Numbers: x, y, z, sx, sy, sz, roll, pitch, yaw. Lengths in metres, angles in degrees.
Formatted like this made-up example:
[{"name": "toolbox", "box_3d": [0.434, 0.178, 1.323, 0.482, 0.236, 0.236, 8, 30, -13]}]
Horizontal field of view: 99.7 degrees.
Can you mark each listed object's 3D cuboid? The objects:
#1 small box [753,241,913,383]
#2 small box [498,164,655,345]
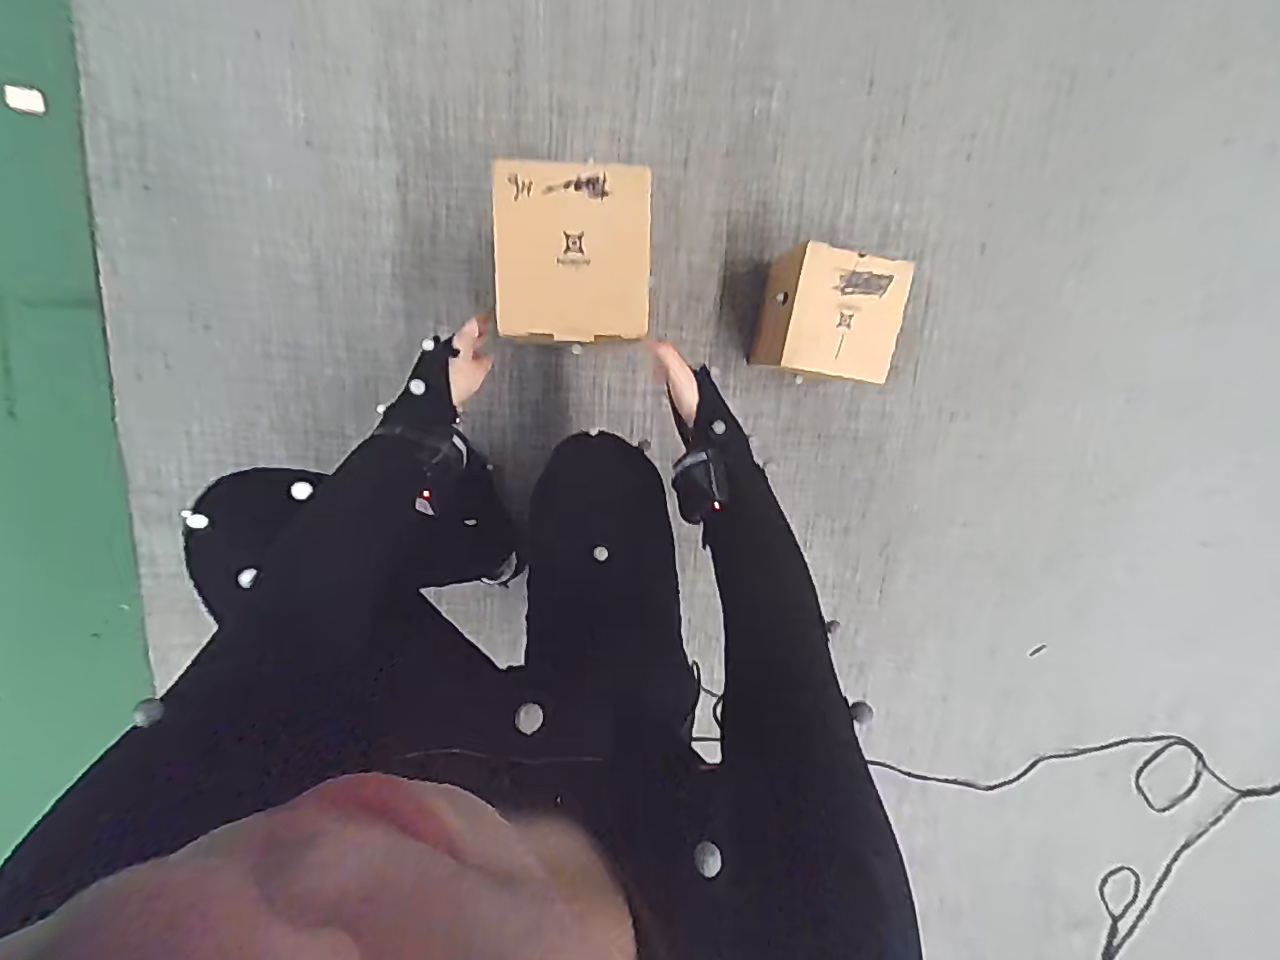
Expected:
[{"name": "small box", "box_3d": [0.292, -0.258, 0.859, 0.168, 0.176, 0.179, 8, 102, -7]}, {"name": "small box", "box_3d": [-0.075, -0.256, 0.656, 0.168, 0.176, 0.179, 0, 103, -6]}]
